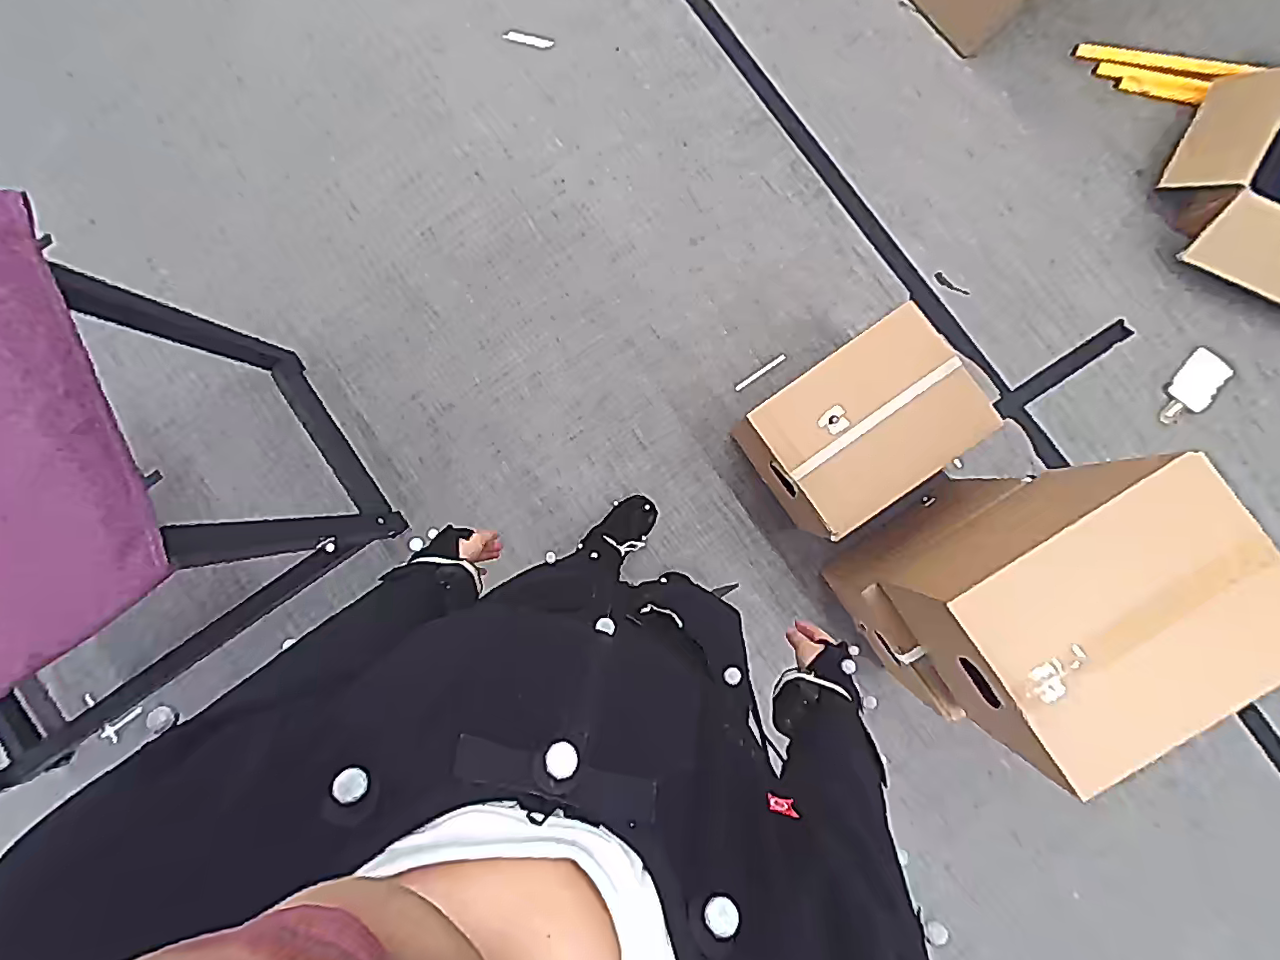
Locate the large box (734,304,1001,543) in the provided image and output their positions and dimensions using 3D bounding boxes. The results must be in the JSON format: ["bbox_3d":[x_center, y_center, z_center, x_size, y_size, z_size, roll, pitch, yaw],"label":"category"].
[{"bbox_3d":[0.474,-0.113,1.219,0.408,0.320,0.320,-36,86,3],"label":"large box"}]
